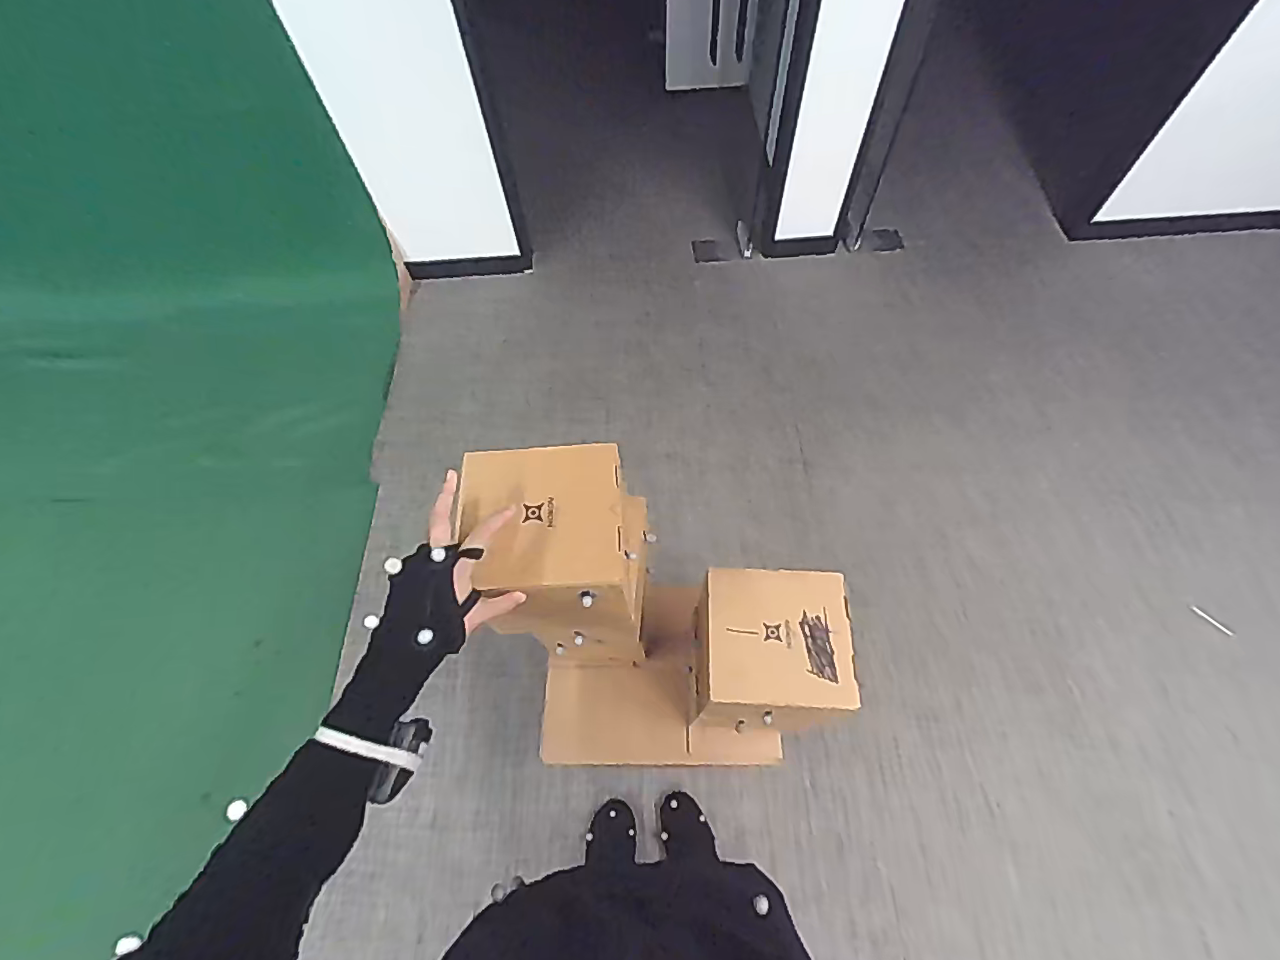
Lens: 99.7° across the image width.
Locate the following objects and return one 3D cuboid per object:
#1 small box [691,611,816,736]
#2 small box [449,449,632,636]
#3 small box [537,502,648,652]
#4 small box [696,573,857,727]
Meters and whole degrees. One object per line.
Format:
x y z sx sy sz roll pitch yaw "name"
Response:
0.172 0.316 0.872 0.179 0.176 0.168 1 63 4 "small box"
-0.105 0.082 0.645 0.179 0.176 0.168 -4 60 0 "small box"
-0.079 0.141 0.798 0.168 0.176 0.179 3 61 6 "small box"
0.170 0.235 0.730 0.179 0.176 0.168 2 61 3 "small box"
